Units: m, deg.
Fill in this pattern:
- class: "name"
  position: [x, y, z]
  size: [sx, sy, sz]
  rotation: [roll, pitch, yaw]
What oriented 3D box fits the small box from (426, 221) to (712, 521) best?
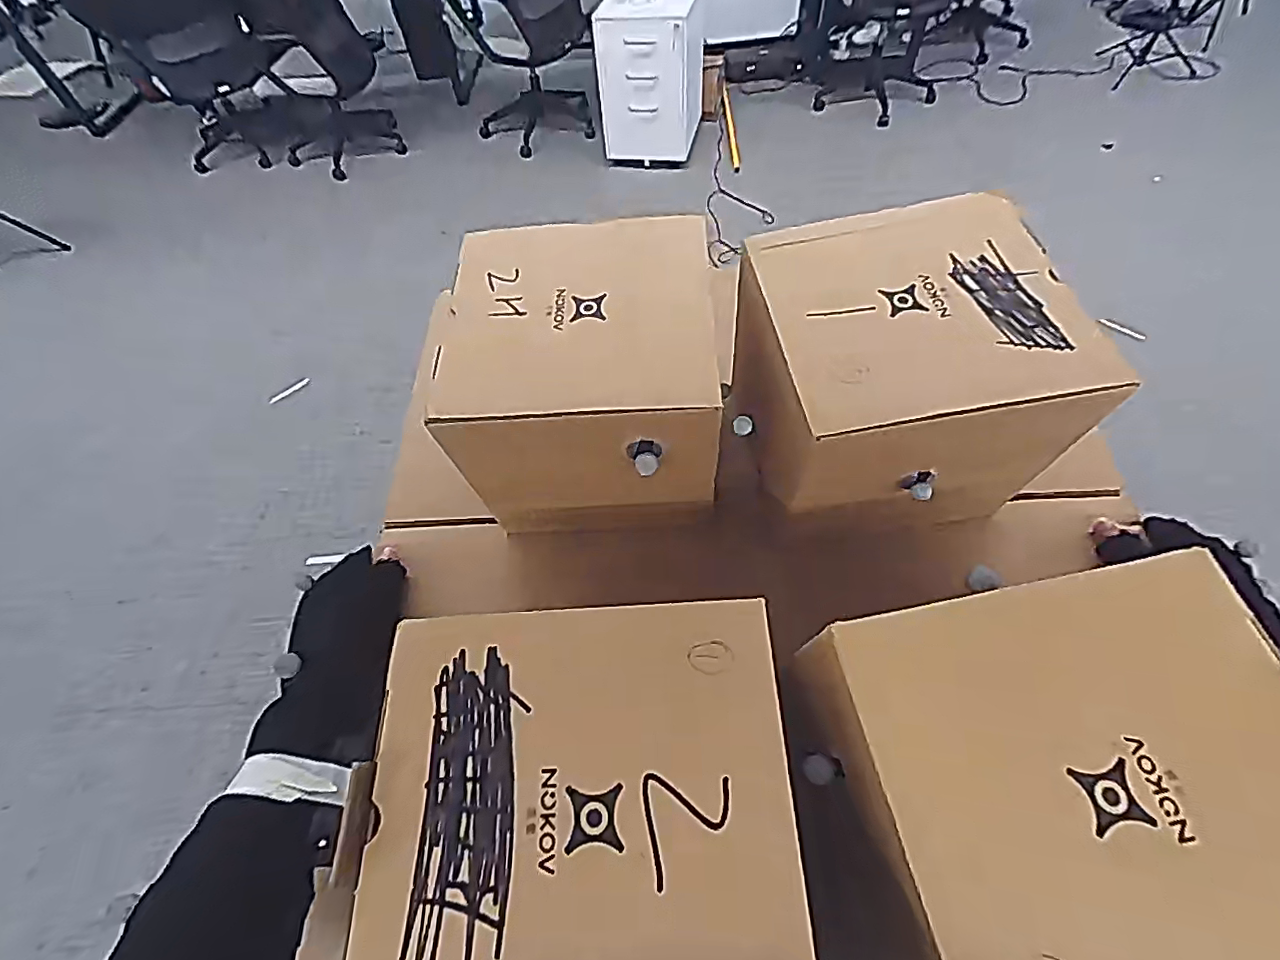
- class: "small box"
  position: [-0.037, -0.075, 0.430]
  size: [0.179, 0.176, 0.168]
  rotation: [-2, 61, 5]
